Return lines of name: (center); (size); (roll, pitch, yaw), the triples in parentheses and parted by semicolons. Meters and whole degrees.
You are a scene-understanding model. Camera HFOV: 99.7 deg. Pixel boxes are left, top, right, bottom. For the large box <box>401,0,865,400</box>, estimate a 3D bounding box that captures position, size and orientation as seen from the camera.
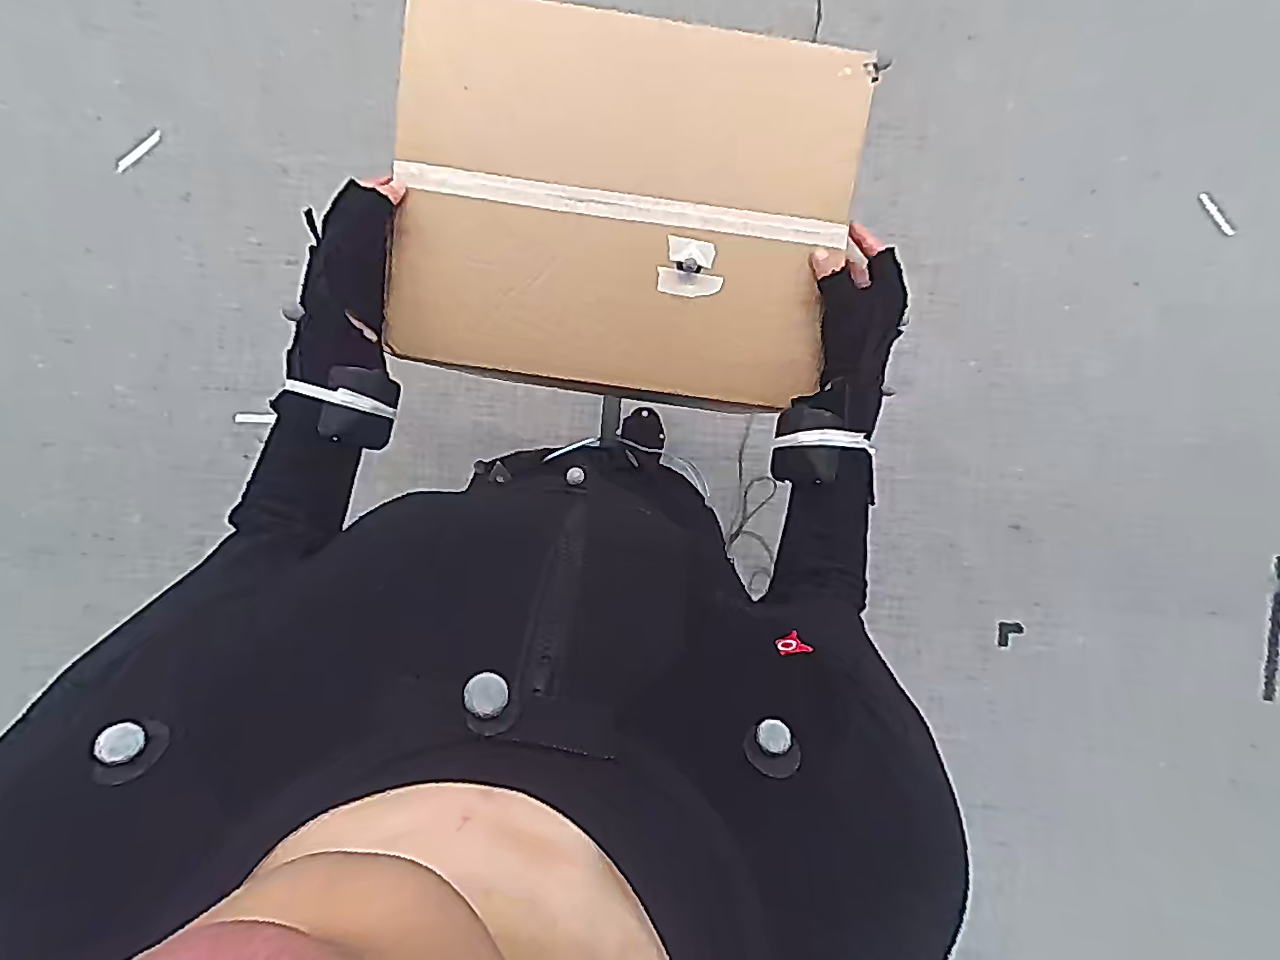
large box: (-0.016, -0.275, 0.643); (0.408, 0.320, 0.320); (8, 98, -2)
